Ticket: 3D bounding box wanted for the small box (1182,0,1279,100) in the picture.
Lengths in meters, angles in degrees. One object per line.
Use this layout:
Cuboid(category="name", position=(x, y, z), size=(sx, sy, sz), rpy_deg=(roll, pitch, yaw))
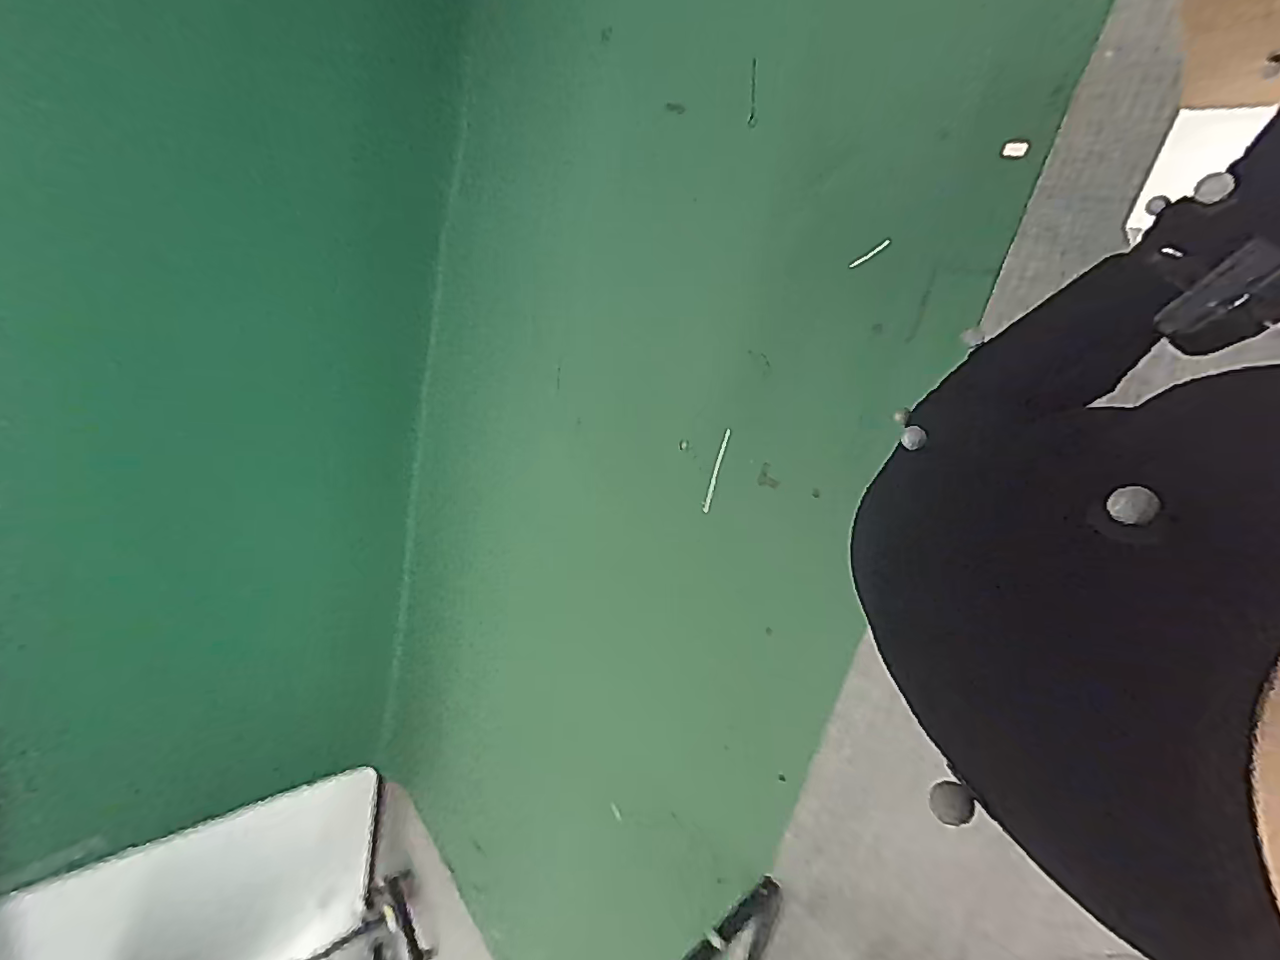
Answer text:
Cuboid(category="small box", position=(0.686, -0.502, 0.530), size=(0.179, 0.176, 0.168), rpy_deg=(29, 113, 40))
